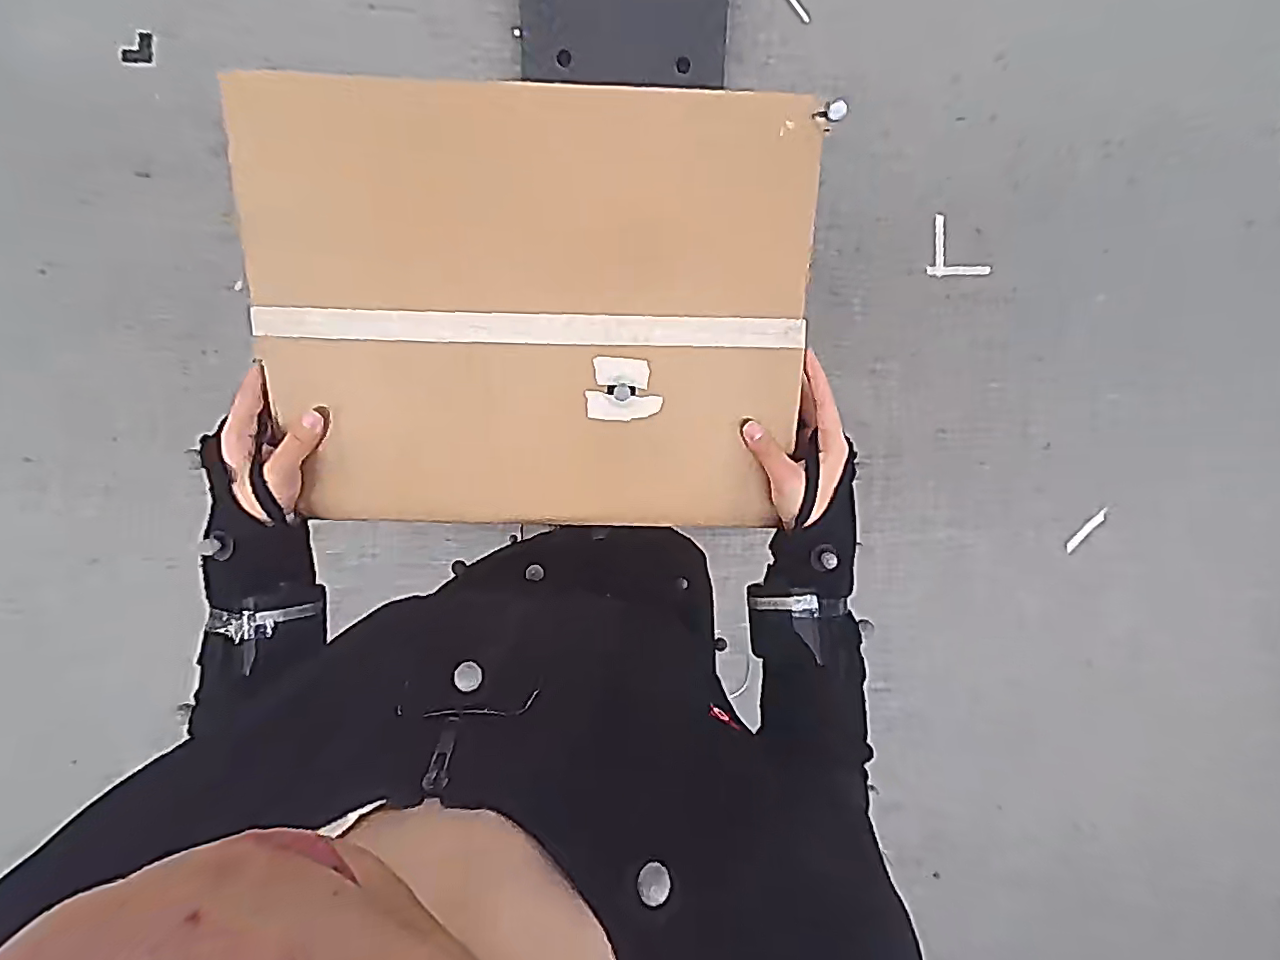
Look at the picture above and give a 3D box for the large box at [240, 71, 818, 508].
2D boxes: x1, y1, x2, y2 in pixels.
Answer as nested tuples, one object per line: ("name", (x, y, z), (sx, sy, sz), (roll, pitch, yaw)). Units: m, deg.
("large box", (-0.081, -0.165, 0.551), (0.408, 0.320, 0.320), (1, 106, -2))
